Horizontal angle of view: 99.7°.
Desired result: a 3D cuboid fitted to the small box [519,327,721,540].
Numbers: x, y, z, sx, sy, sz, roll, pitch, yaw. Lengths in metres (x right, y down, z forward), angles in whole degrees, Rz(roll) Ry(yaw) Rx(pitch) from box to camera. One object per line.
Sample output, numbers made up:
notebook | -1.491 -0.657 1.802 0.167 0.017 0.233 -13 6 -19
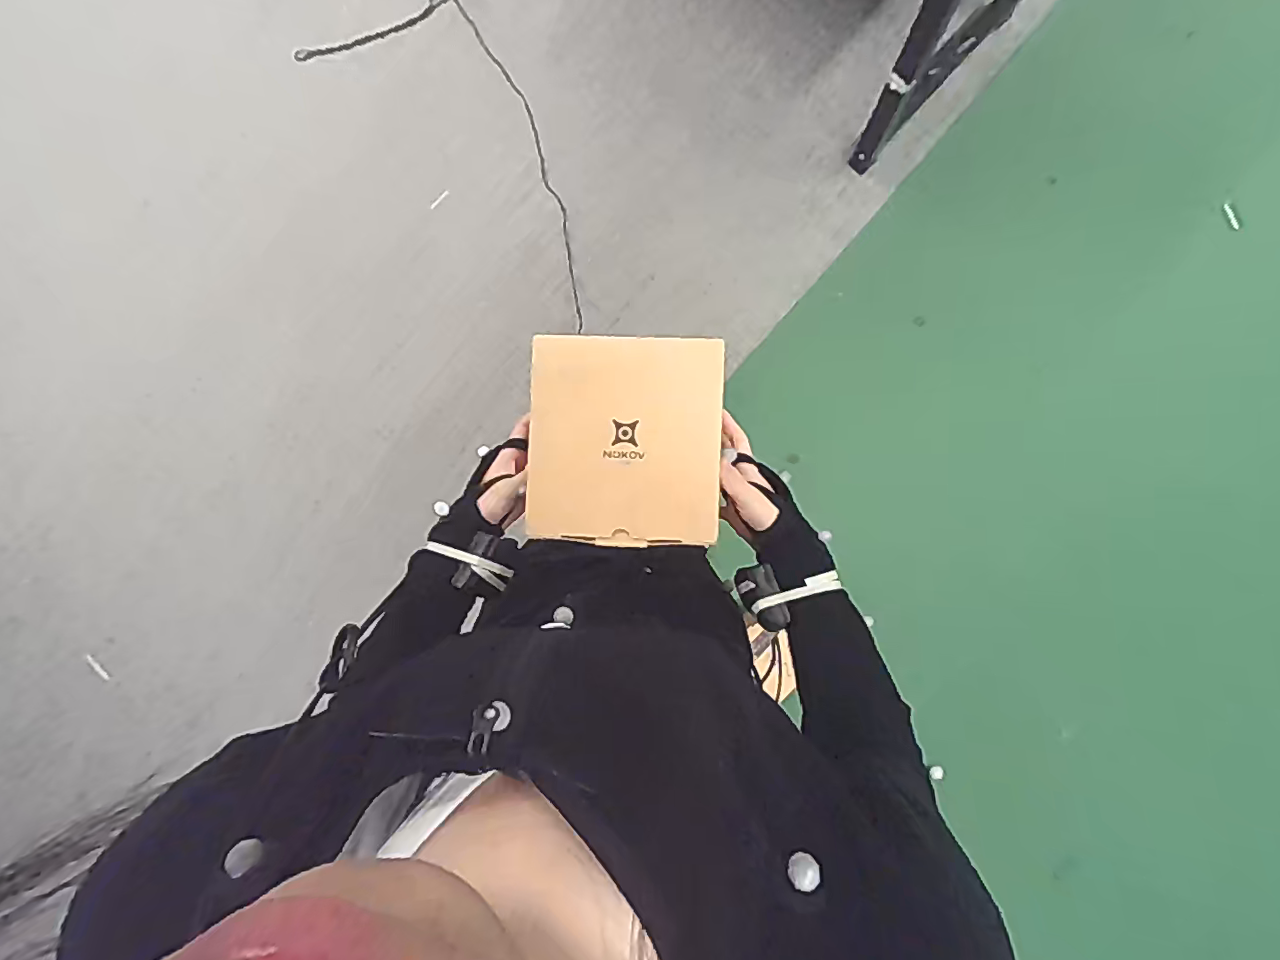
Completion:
small box | -0.015 -0.038 0.529 0.168 0.176 0.179 1 90 2
